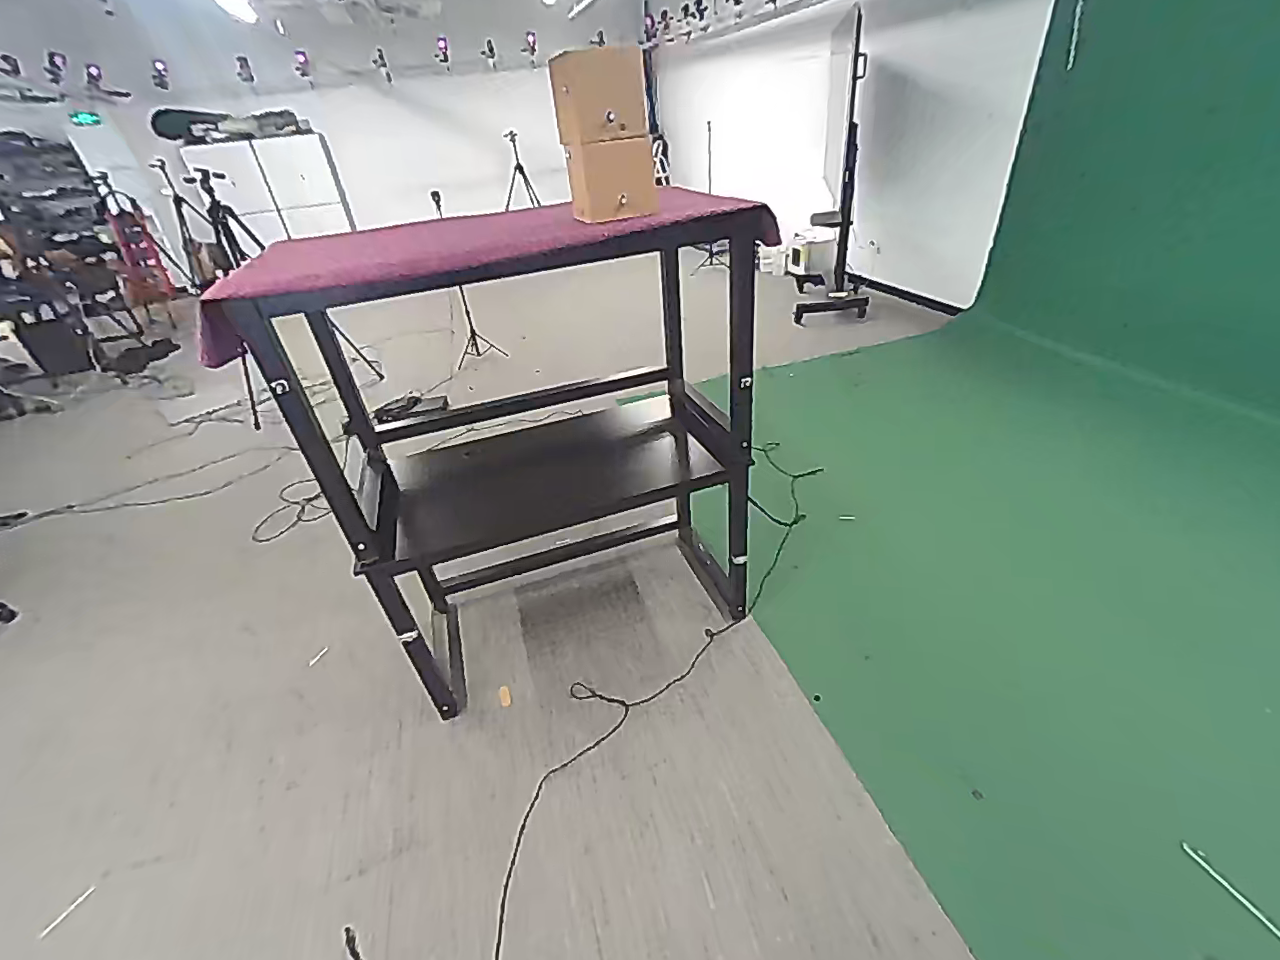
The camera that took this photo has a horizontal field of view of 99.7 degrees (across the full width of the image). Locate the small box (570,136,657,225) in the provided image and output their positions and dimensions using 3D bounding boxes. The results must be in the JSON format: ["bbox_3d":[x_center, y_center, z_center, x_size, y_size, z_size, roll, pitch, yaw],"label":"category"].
[{"bbox_3d":[-0.062,-0.738,1.329,0.179,0.176,0.168,-15,33,-13],"label":"small box"}]
